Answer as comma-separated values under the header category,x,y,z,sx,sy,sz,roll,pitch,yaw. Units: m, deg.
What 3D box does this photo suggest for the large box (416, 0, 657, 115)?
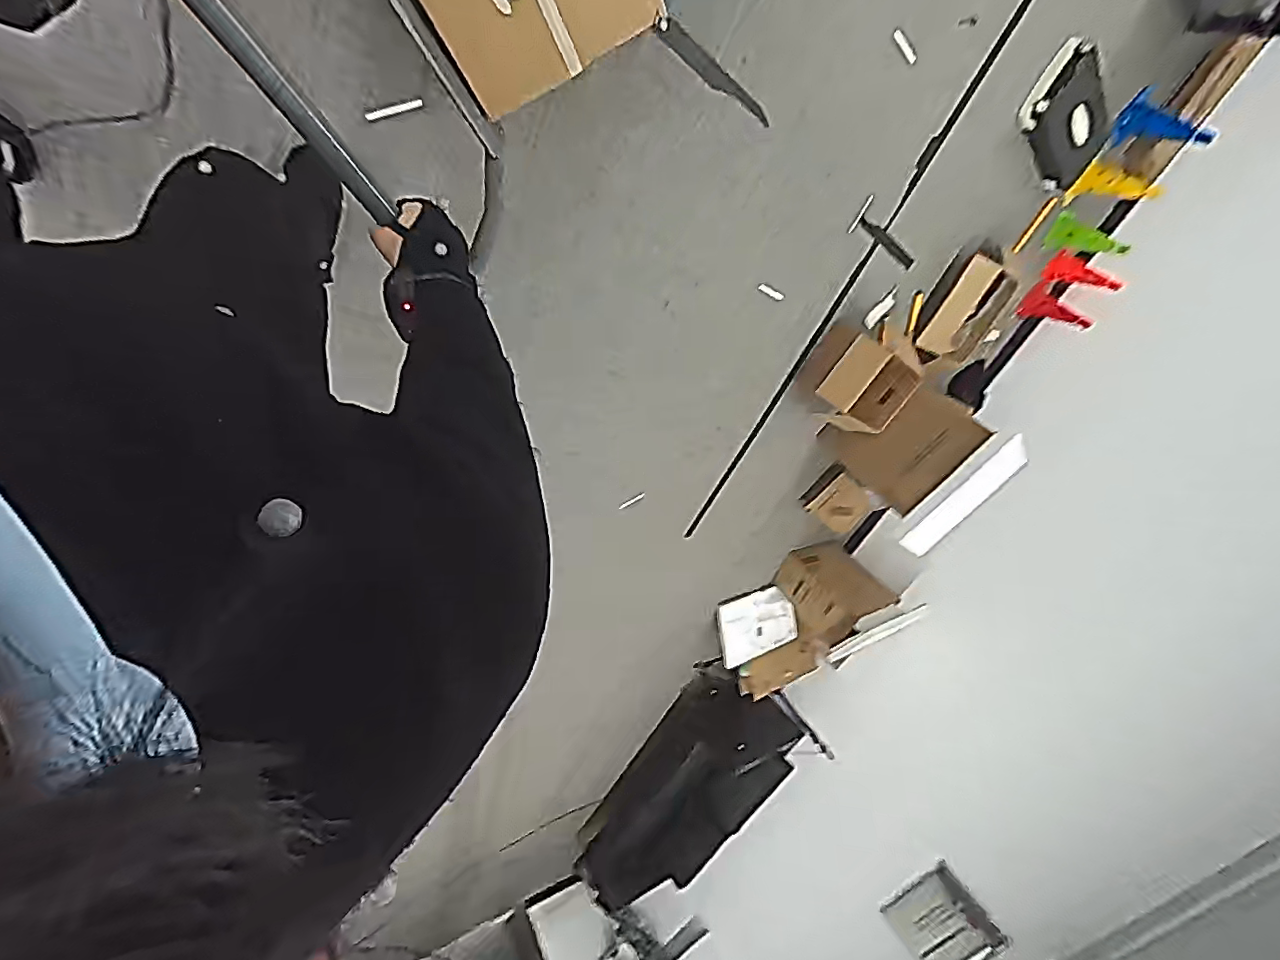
category,x,y,z,sx,sy,sz,roll,pitch,yaw
large box,-0.218,-0.855,0.769,0.320,0.320,0.408,-22,145,11
